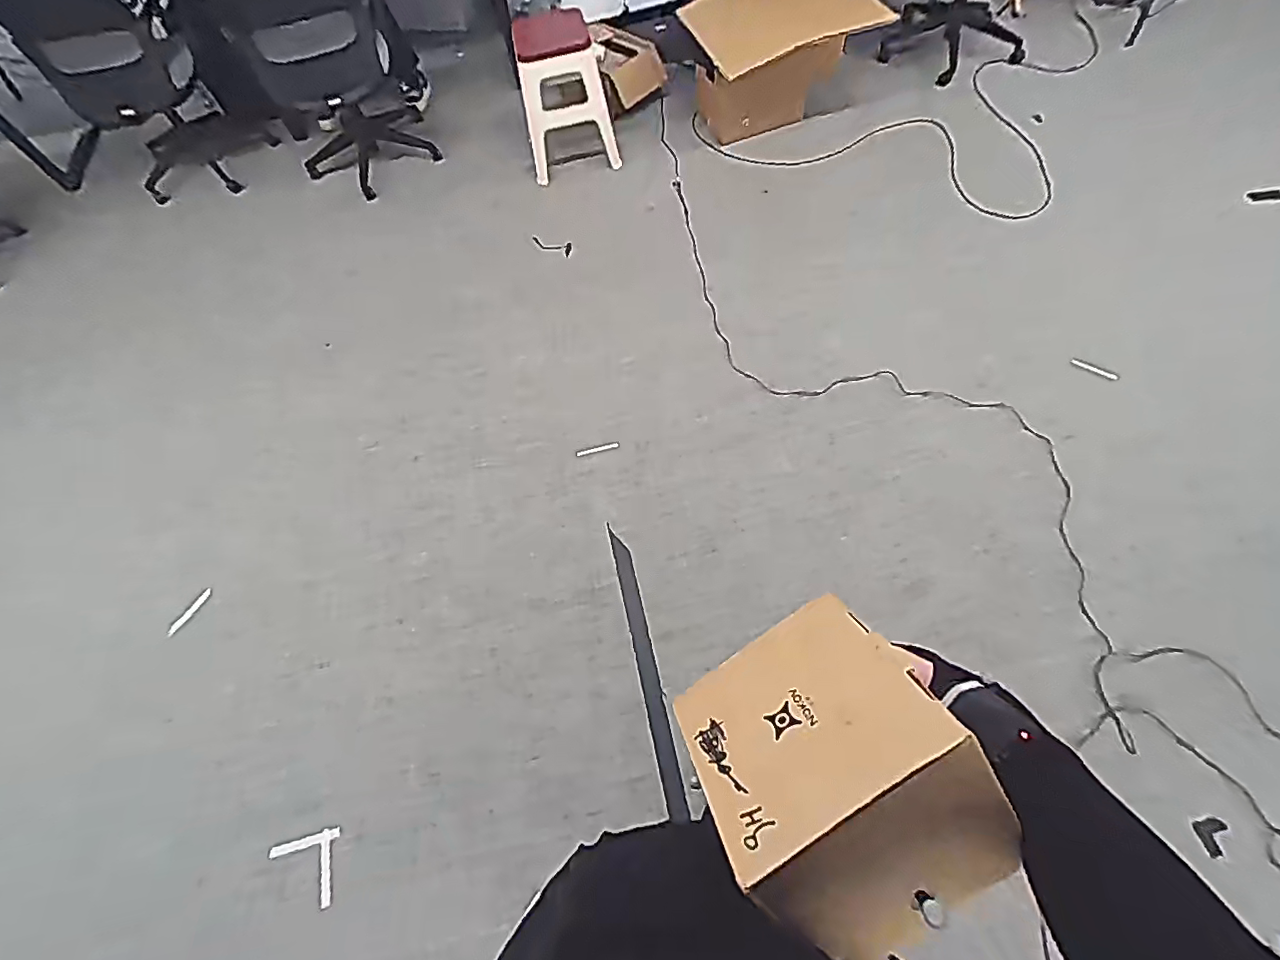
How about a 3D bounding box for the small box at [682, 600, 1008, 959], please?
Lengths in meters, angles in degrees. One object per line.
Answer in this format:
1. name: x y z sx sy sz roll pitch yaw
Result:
1. small box: 0.167 0.244 0.453 0.179 0.176 0.168 -36 24 1
